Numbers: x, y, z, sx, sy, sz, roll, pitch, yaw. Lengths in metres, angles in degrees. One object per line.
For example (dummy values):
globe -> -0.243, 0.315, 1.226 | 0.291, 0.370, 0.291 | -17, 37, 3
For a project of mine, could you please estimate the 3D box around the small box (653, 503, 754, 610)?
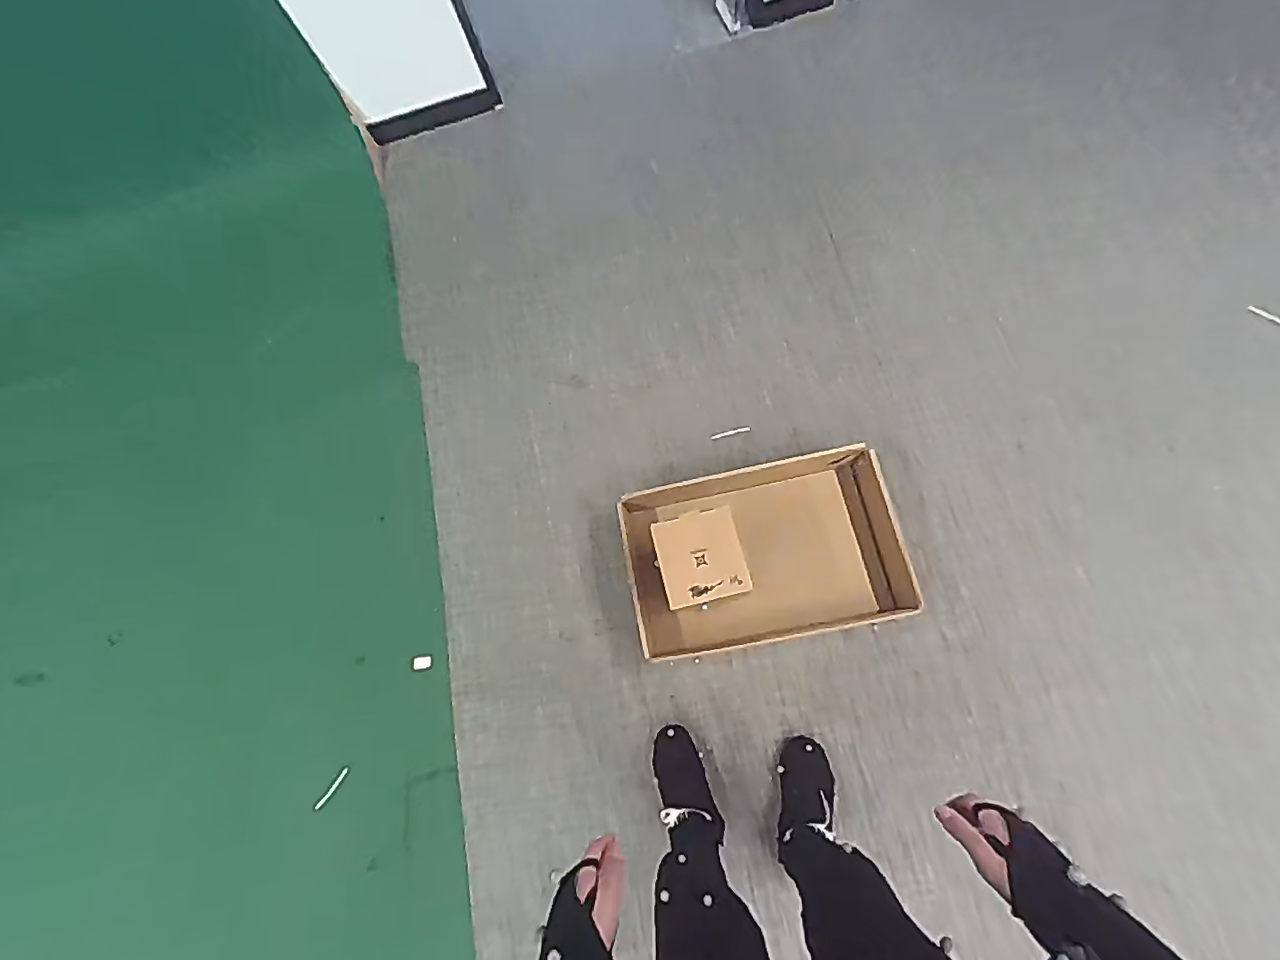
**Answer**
small box -> 0.129, 0.166, 1.126 | 0.168, 0.176, 0.179 | -15, 73, 4
